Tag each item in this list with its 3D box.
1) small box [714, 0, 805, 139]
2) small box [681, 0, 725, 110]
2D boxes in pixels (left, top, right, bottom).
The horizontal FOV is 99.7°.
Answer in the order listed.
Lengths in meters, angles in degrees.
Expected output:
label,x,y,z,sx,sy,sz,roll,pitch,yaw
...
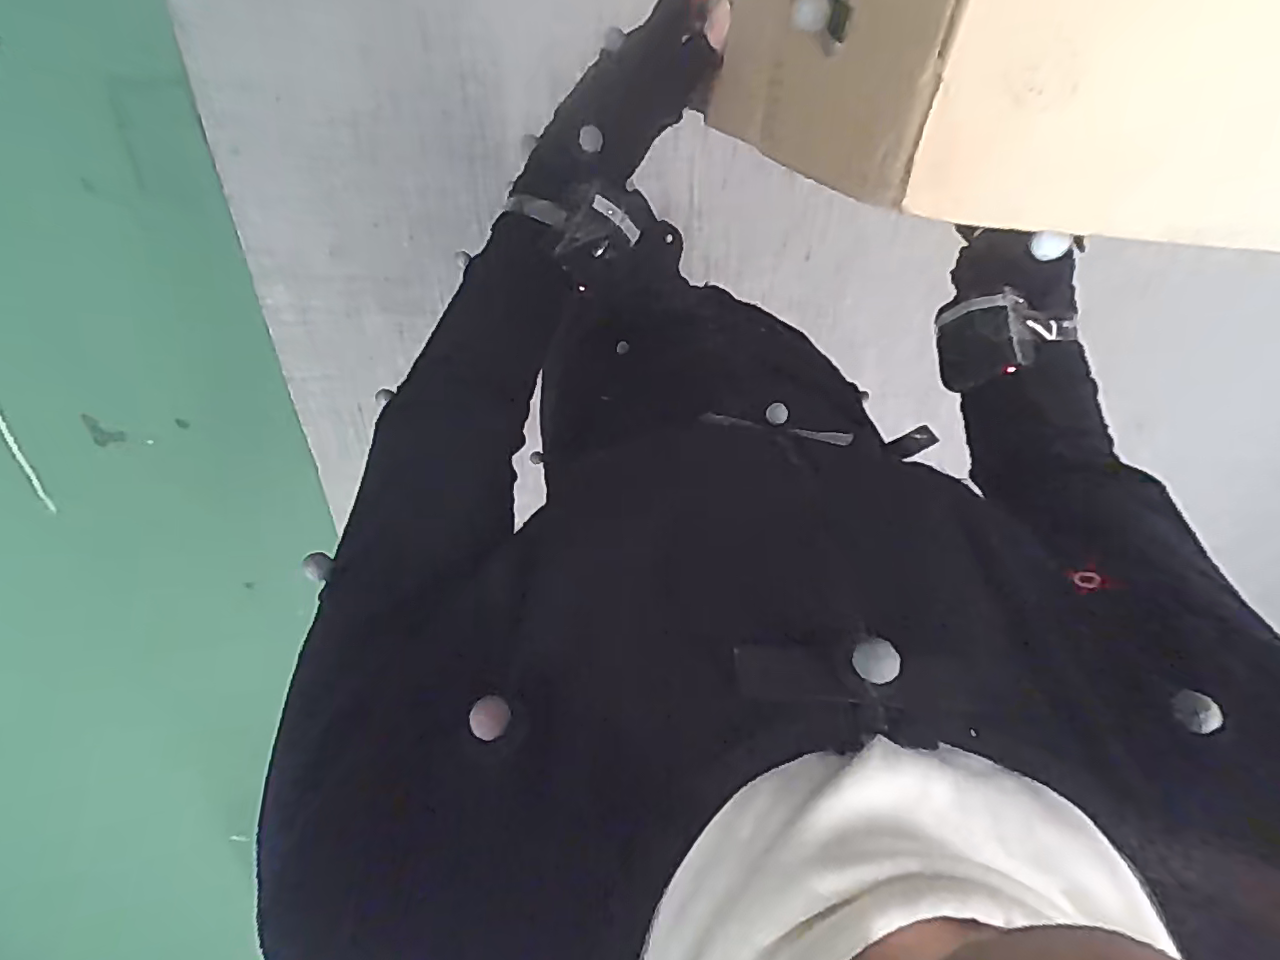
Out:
label,x,y,z,sx,sy,sz,roll,pitch,yaw
small box,0.141,-0.299,0.305,0.168,0.176,0.179,1,126,-4
small box,0.136,-0.394,0.437,0.179,0.176,0.168,3,125,-4
